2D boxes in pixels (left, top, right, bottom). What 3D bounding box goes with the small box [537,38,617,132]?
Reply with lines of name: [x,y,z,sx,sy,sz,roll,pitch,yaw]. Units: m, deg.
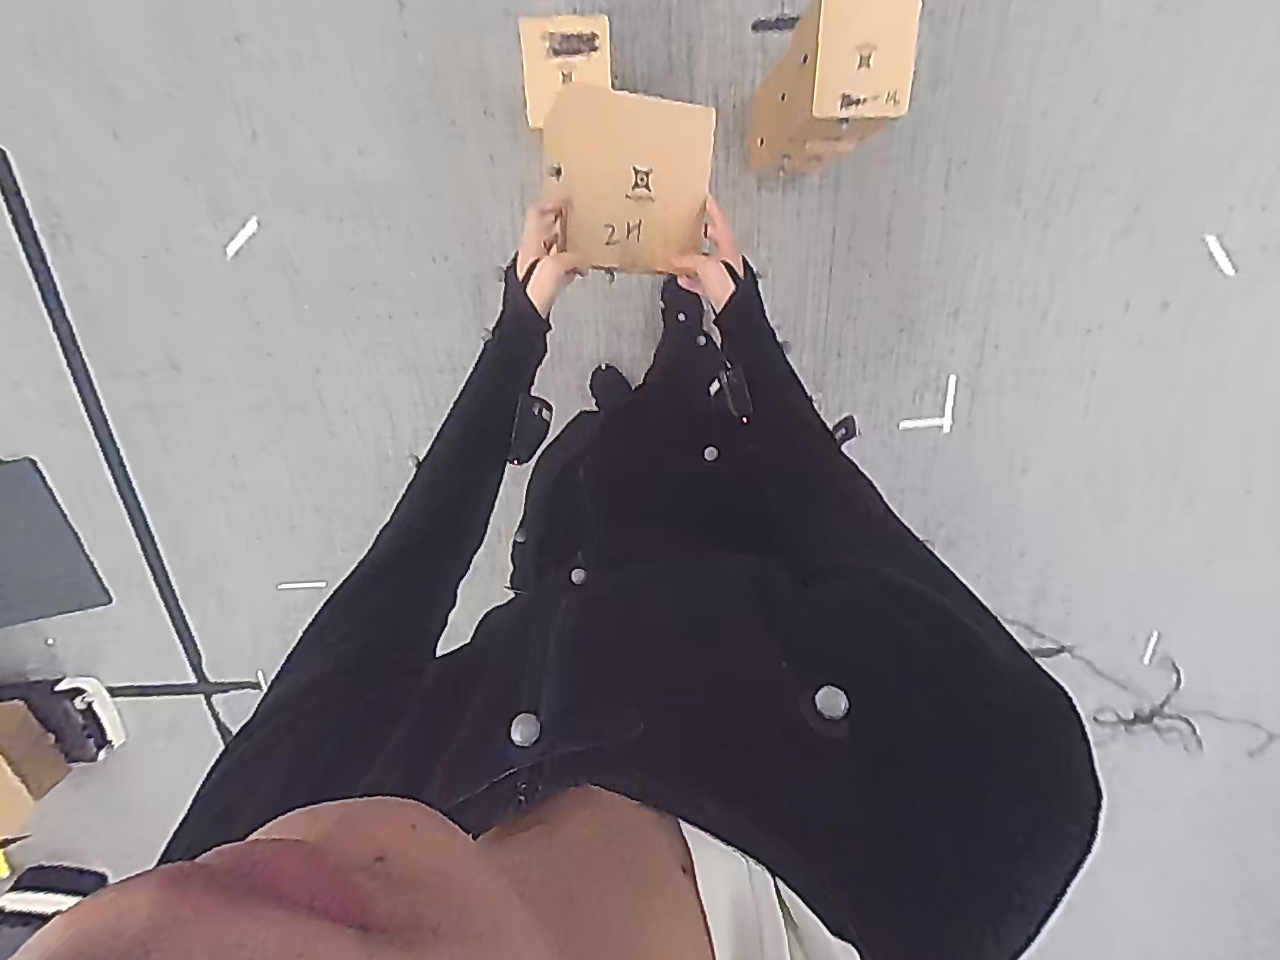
small box: [-0.133,-0.865,1.233,0.168,0.176,0.179,-4,110,0]

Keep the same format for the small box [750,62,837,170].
small box: [0.360,-0.840,1.262,0.168,0.176,0.179,-1,111,-2]

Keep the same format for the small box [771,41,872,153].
small box: [0.373,-0.784,1.108,0.168,0.176,0.179,-1,110,-2]

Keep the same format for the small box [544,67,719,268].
small box: [-0.023,-0.360,0.659,0.168,0.176,0.179,-3,113,-18]

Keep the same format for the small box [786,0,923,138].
small box: [0.365,-0.727,0.953,0.168,0.176,0.179,-1,110,-2]
